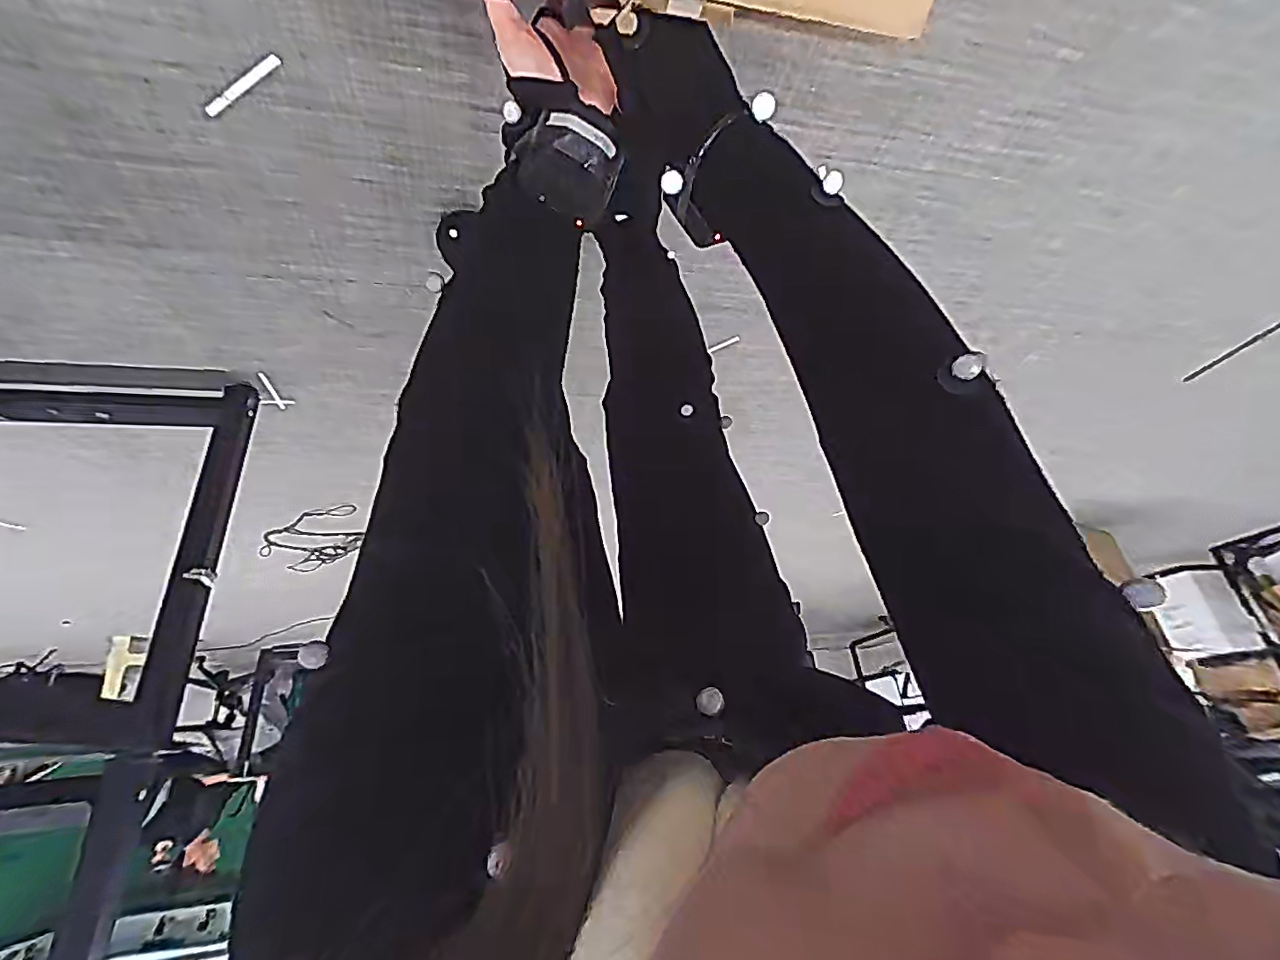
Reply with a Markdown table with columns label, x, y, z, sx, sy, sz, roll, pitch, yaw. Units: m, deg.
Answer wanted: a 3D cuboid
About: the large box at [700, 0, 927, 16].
| label | x | y | z | sx | sy | sz | roll | pitch | yaw |
| --- | --- | --- | --- | --- | --- | --- | --- | --- | --- |
| large box | 0.028 | -0.531 | 0.288 | 0.320 | 0.320 | 0.408 | 0 | 131 | -13 |
